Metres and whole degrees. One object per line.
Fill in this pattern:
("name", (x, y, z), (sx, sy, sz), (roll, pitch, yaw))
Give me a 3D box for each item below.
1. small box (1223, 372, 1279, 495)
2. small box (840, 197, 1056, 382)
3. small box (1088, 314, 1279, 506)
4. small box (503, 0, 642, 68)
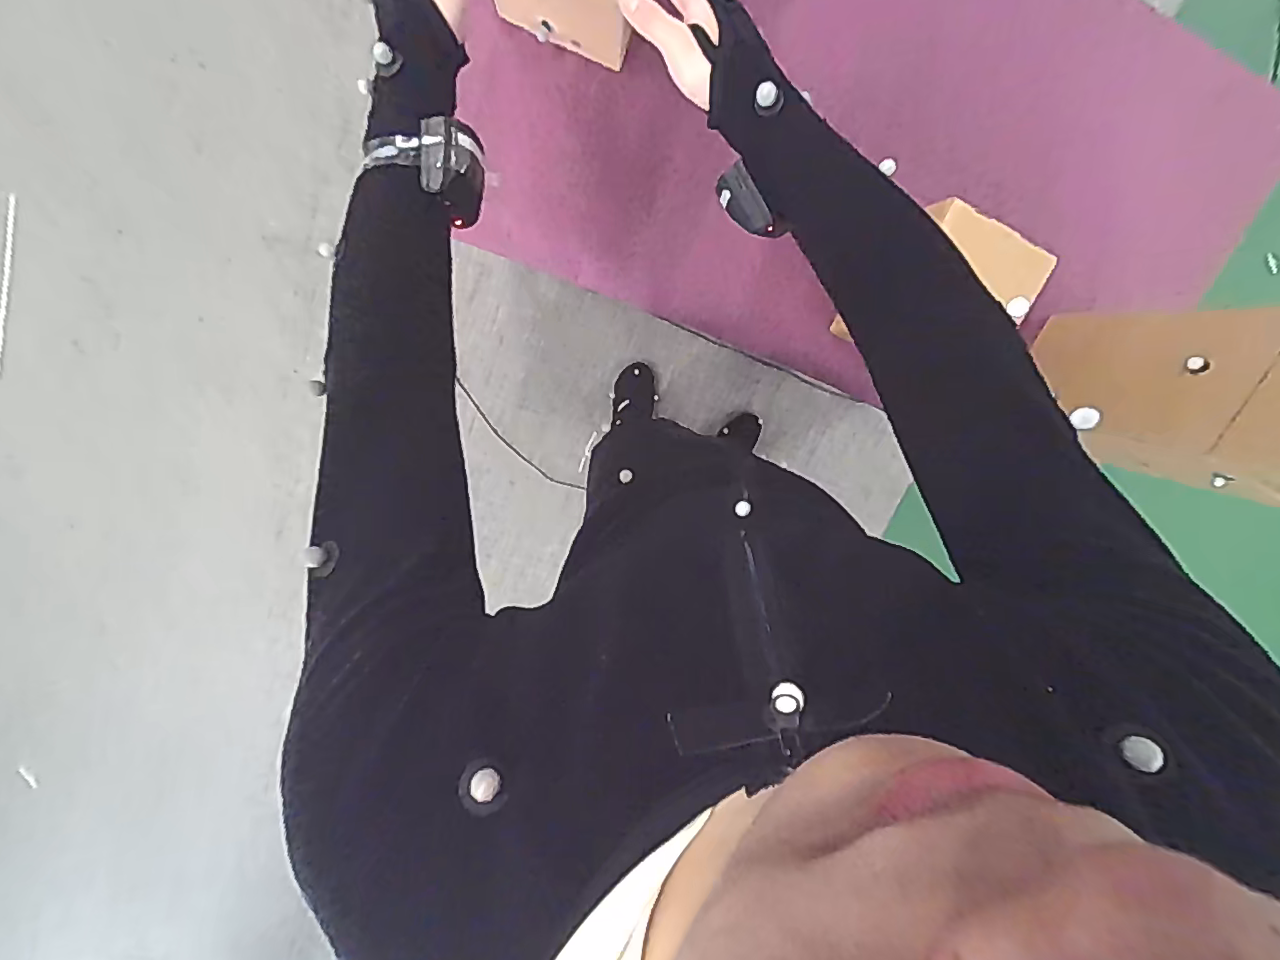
("small box", (0.724, -0.050, 0.496), (0.168, 0.176, 0.179), (23, 103, -9))
("small box", (0.409, -0.254, 0.758), (0.168, 0.176, 0.179), (22, 101, -10))
("small box", (0.712, -0.090, 0.656), (0.168, 0.176, 0.179), (24, 102, -9))
("small box", (-0.069, -0.627, 0.613), (0.168, 0.176, 0.179), (18, 105, -9))
